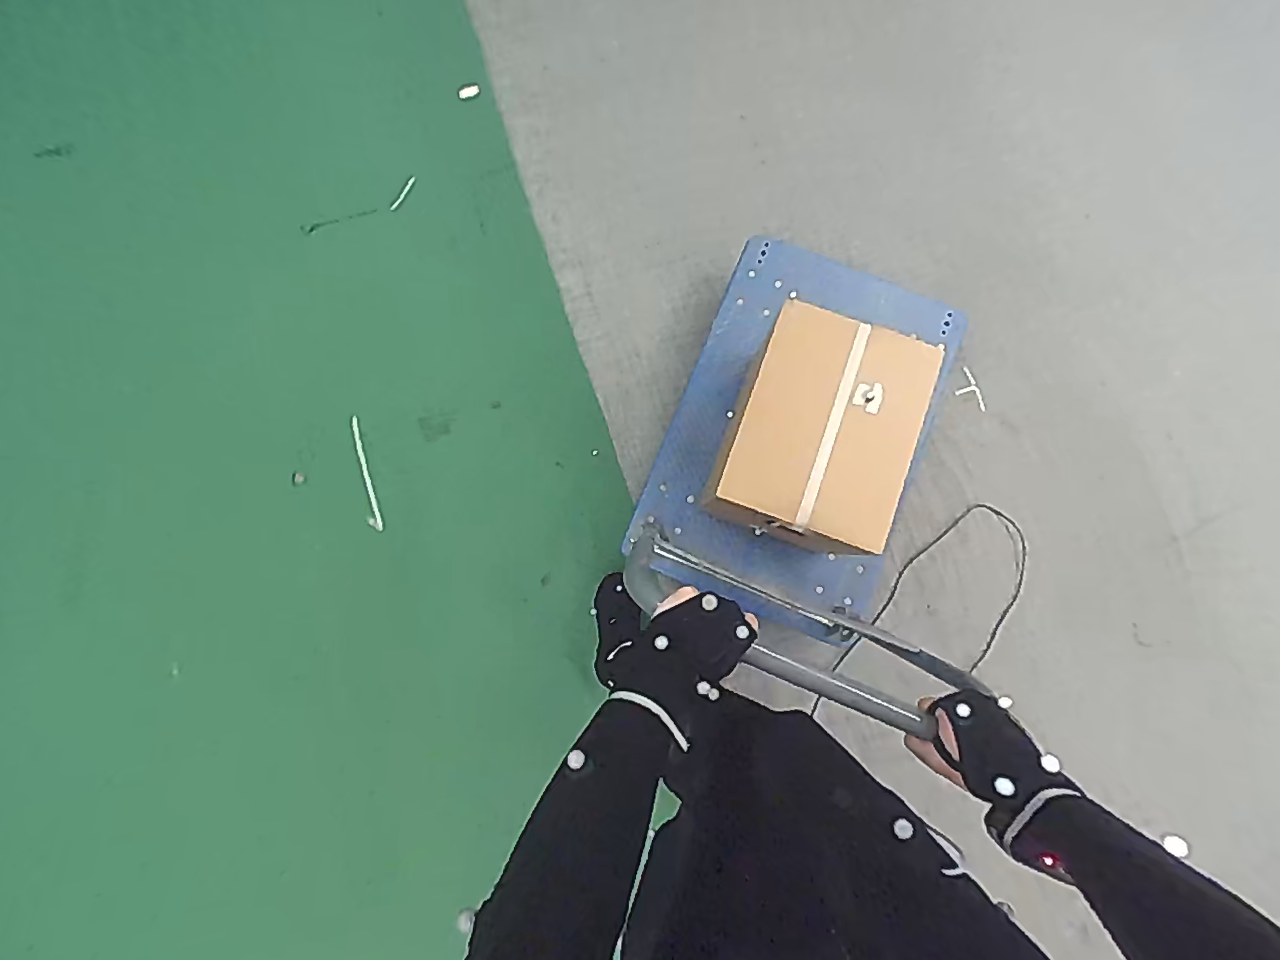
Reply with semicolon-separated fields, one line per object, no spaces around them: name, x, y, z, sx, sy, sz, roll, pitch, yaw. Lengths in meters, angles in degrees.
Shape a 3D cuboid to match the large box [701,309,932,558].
large box;0.342;-0.071;1.139;0.320;0.320;0.408;20;83;2
